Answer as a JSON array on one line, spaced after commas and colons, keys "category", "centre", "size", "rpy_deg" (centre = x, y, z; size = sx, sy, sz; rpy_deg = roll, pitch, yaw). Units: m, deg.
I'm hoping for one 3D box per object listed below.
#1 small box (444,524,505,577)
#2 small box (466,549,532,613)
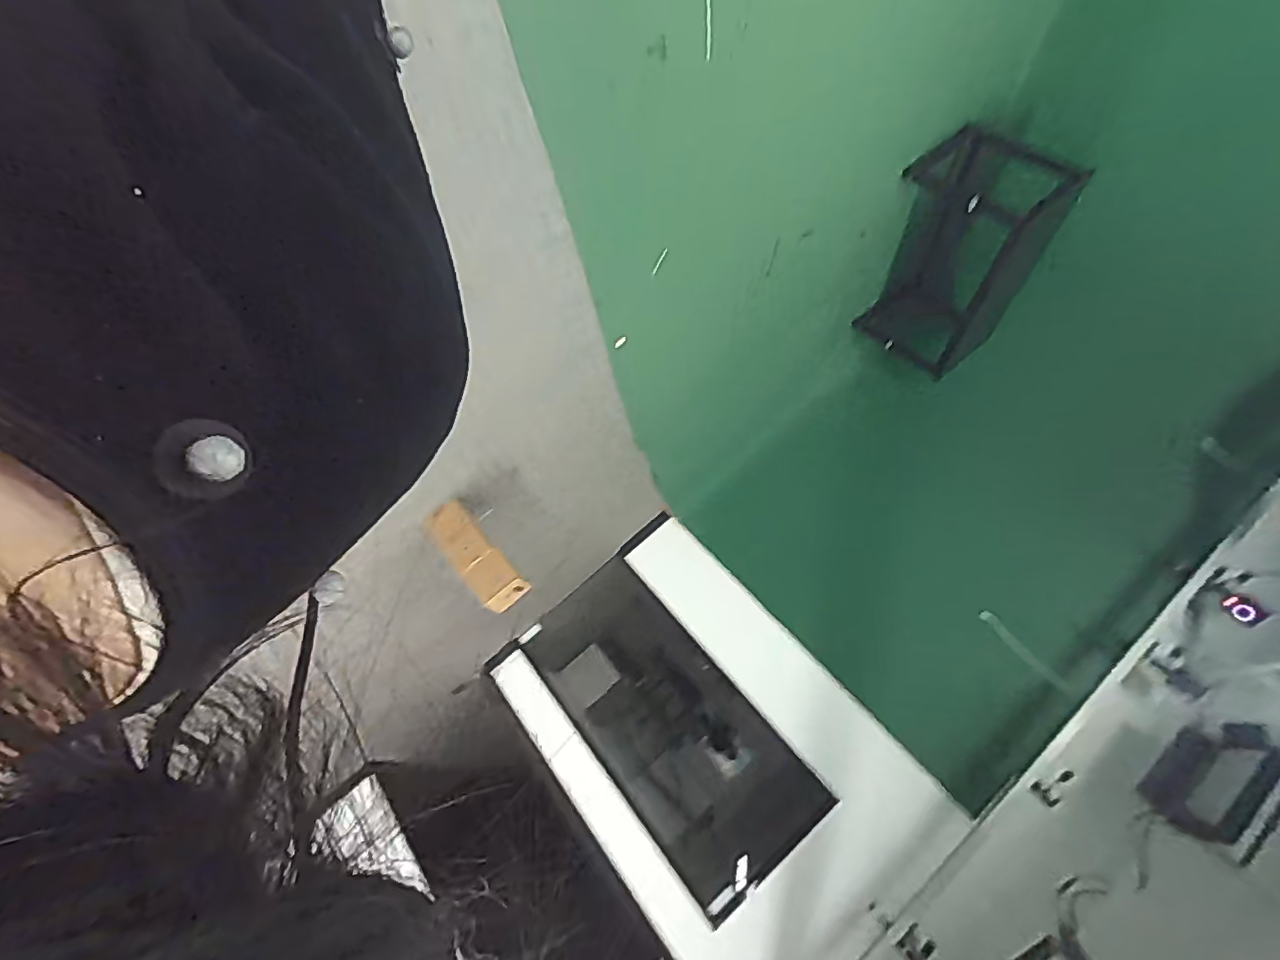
[{"category": "small box", "centre": [-0.696, 0.310, 2.292], "size": [0.168, 0.176, 0.179], "rpy_deg": [-40, 154, -8]}, {"category": "small box", "centre": [-0.584, 0.413, 2.228], "size": [0.179, 0.176, 0.168], "rpy_deg": [-40, 155, -9]}]
